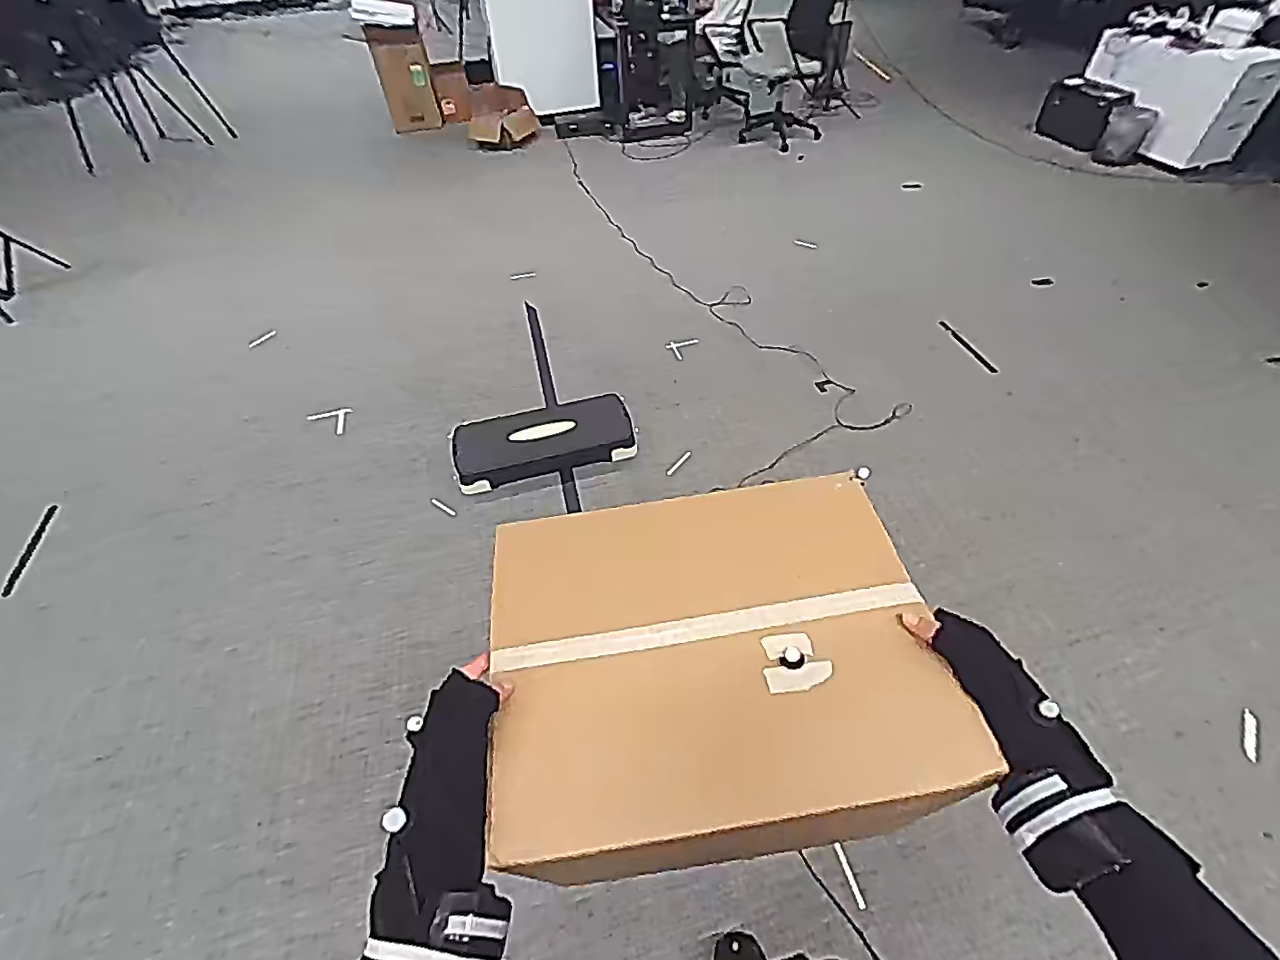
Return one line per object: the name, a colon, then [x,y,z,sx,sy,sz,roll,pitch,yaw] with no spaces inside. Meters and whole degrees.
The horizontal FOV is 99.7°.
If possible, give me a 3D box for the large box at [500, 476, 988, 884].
large box: [0.074,0.237,0.631,0.408,0.320,0.320,-9,51,-2]
